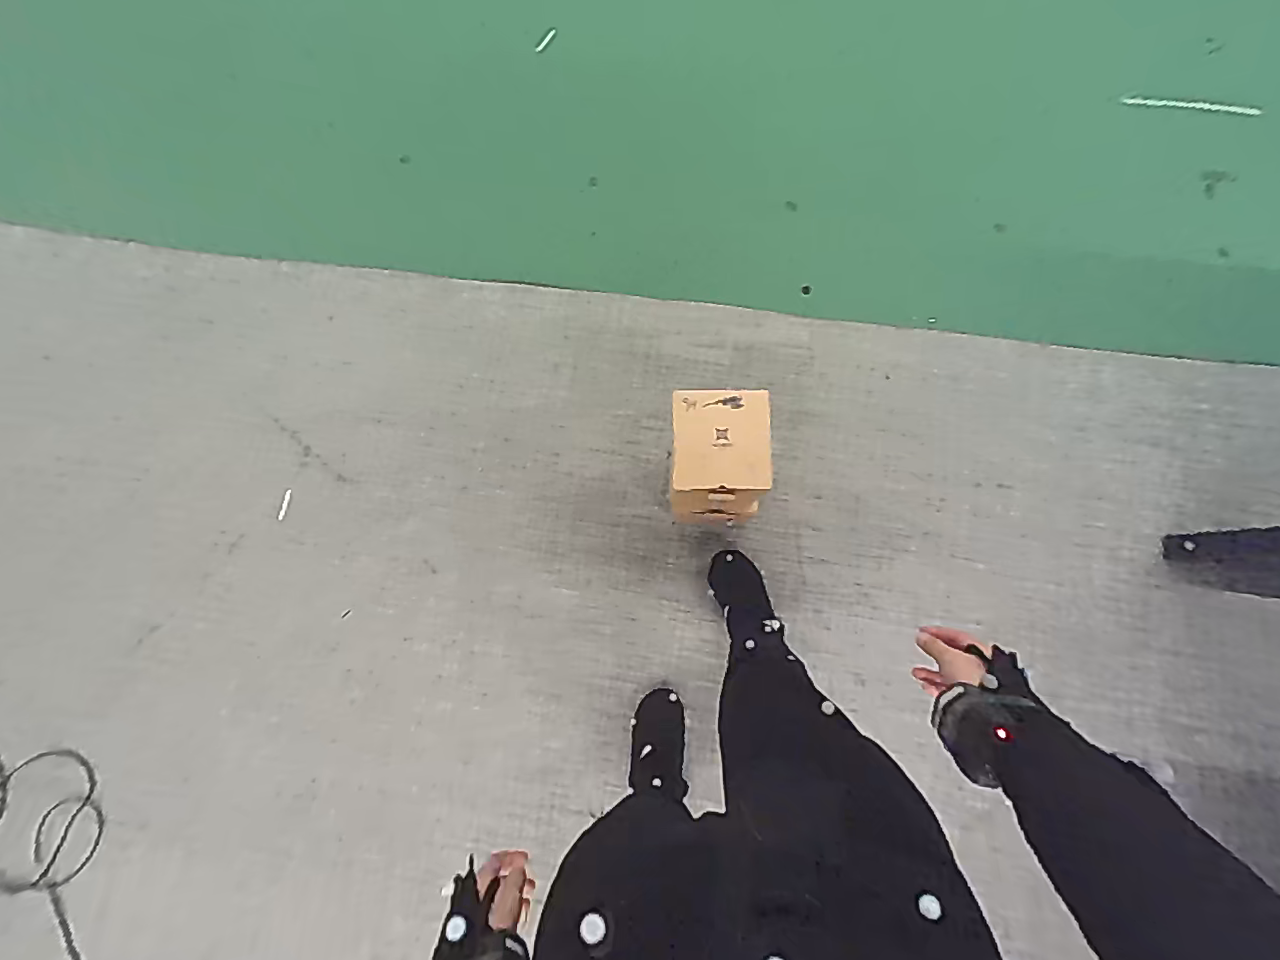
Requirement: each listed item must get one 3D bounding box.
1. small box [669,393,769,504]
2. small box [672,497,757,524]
[{"bbox_3d":[0.139,-0.050,0.989,0.168,0.176,0.179,1,81,2],"label":"small box"},{"bbox_3d":[0.155,0.000,1.146,0.168,0.176,0.179,2,79,2],"label":"small box"}]
